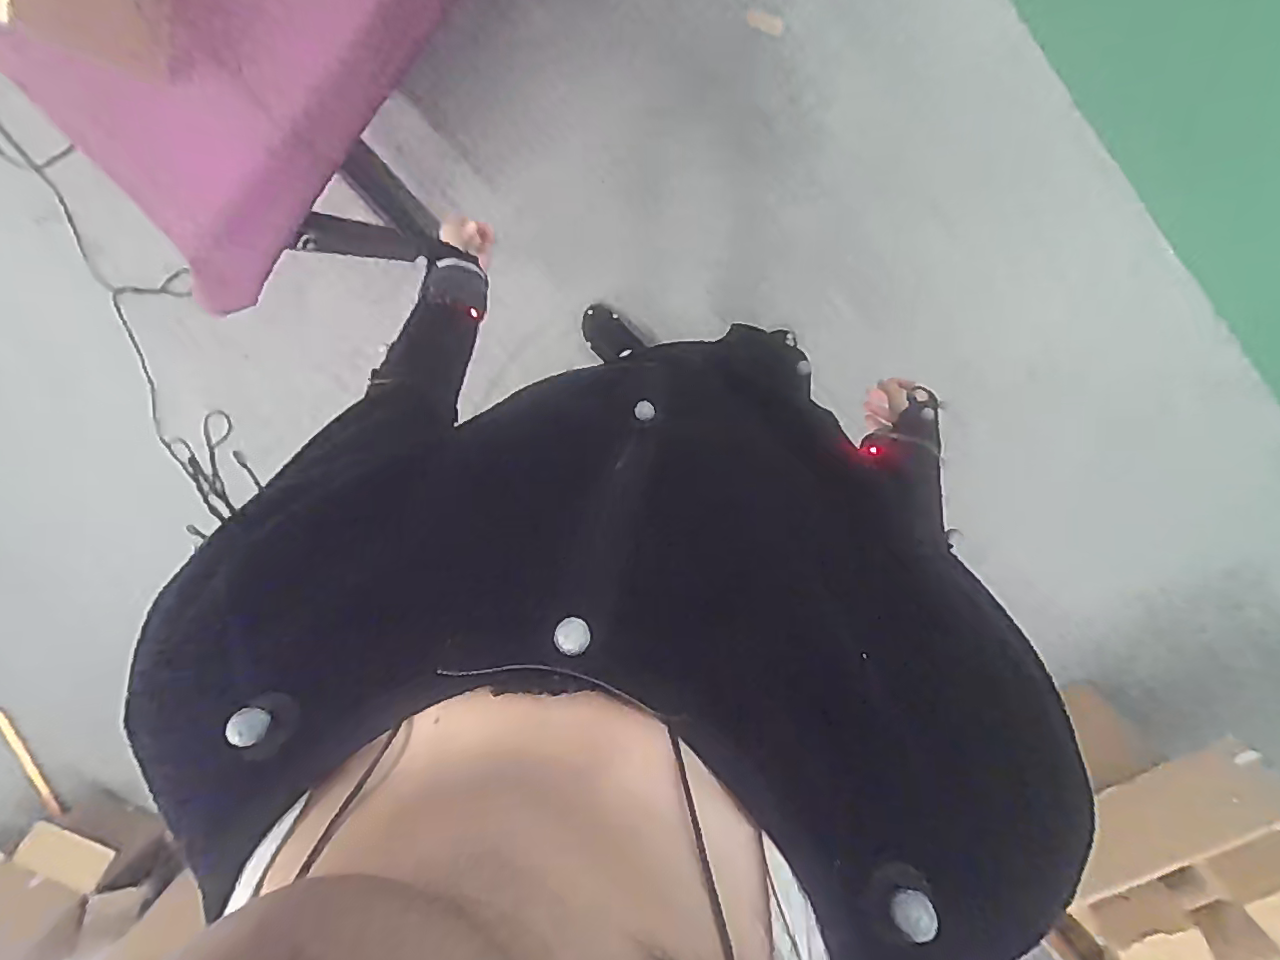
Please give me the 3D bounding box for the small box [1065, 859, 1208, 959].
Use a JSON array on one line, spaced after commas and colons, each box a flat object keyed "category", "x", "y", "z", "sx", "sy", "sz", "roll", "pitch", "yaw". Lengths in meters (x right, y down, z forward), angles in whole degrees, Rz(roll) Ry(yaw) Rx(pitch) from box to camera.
[{"category": "small box", "x": 1.131, "y": 1.011, "z": 1.239, "sx": 0.168, "sy": 0.176, "sz": 0.179, "roll": -29, "pitch": 103, "yaw": 13}]
